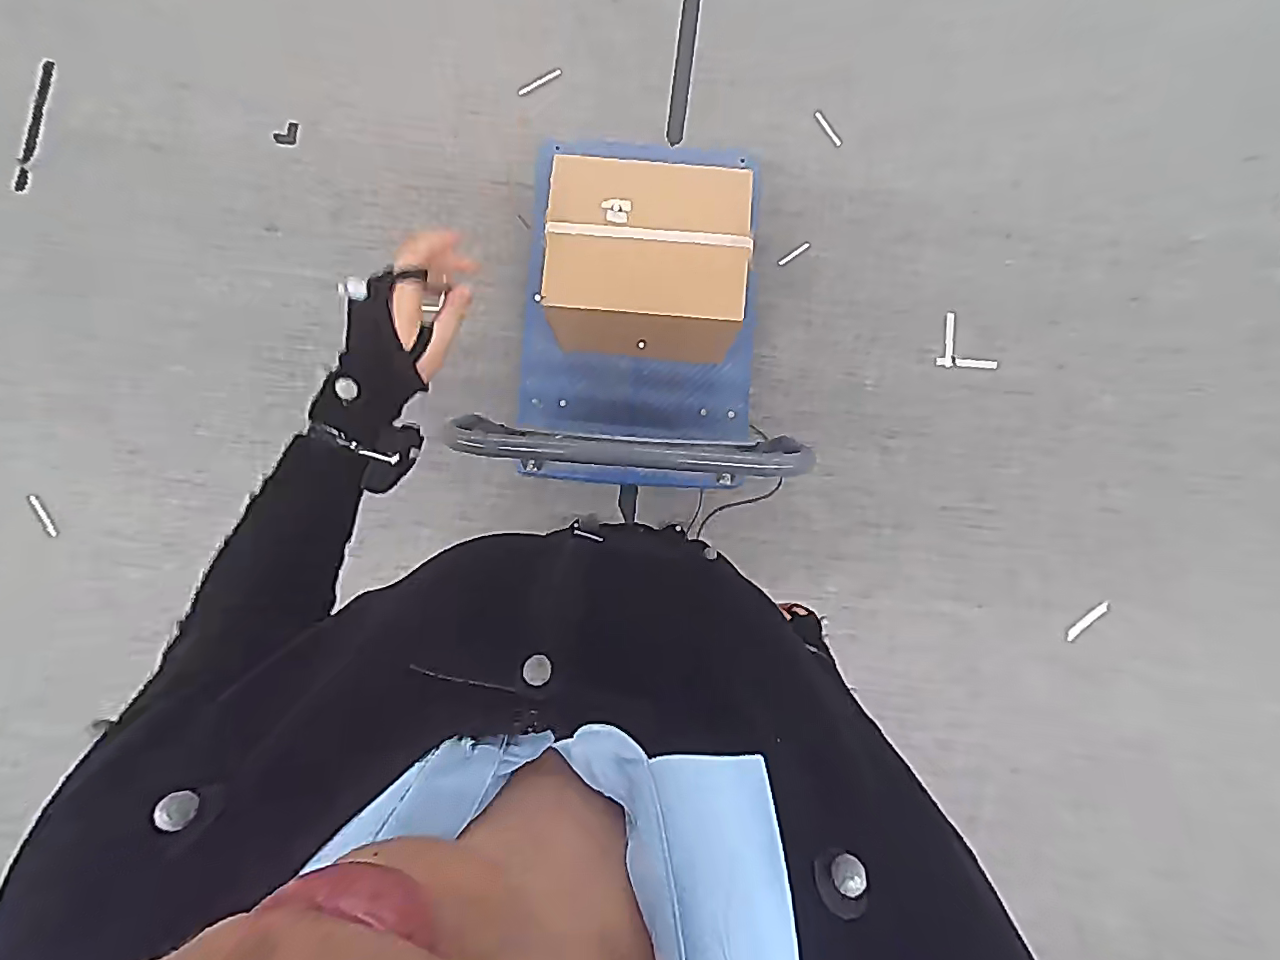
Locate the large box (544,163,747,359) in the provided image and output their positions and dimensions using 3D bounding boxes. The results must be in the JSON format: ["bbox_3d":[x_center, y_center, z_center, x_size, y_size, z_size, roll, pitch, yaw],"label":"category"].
[{"bbox_3d":[0.017,-0.477,1.242,0.408,0.320,0.320,4,85,1],"label":"large box"}]
